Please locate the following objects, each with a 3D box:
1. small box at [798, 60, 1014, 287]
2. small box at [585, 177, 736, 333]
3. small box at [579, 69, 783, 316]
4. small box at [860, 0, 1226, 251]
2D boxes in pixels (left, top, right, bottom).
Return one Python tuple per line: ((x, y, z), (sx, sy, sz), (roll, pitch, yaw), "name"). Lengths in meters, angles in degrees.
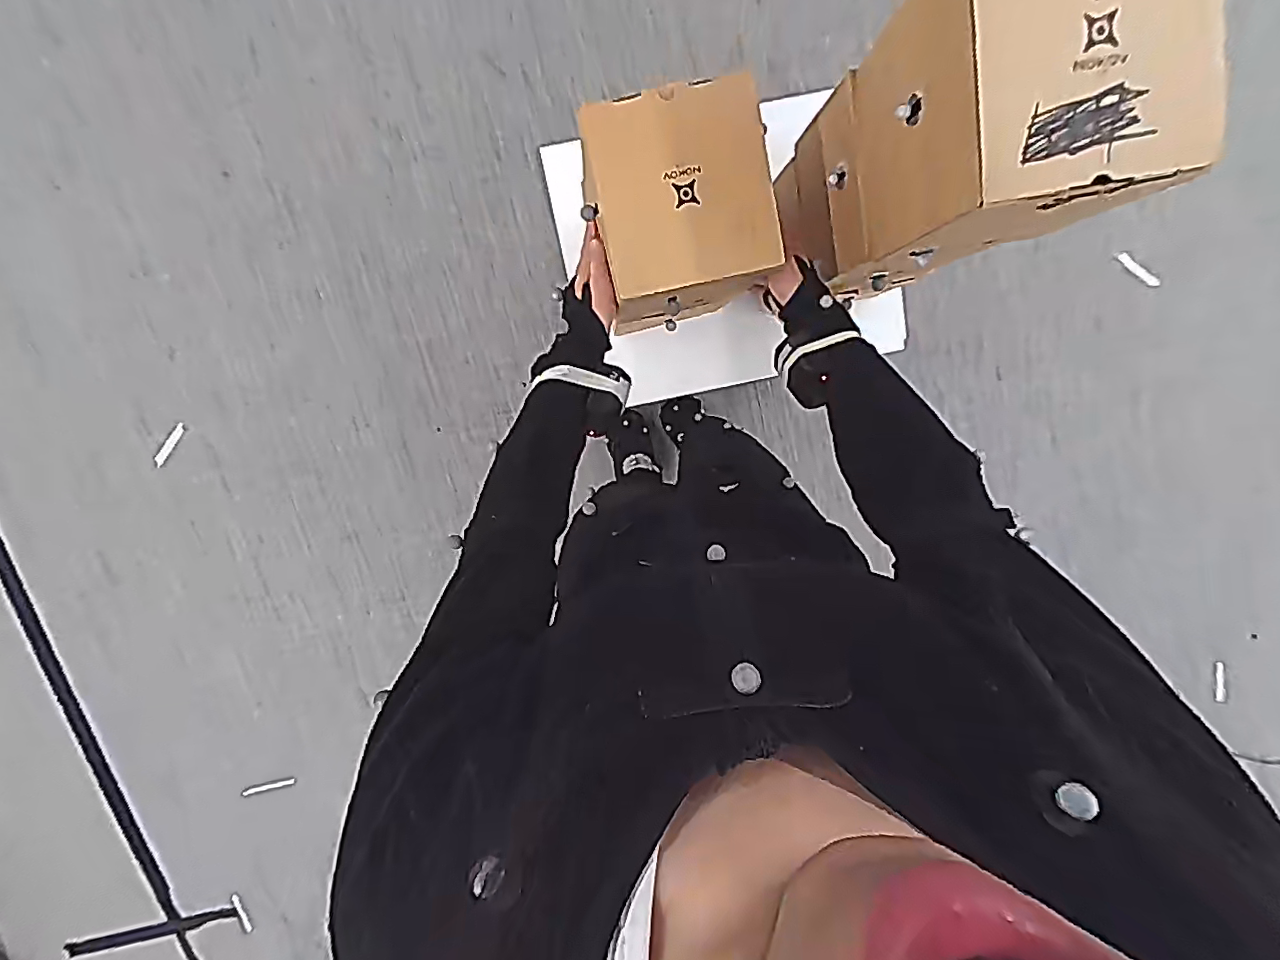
((0.284, -0.326, 0.590), (0.168, 0.176, 0.179), (-11, 101, 0), "small box")
((0.025, -0.313, 0.742), (0.168, 0.176, 0.179), (-15, 101, -1), "small box")
((0.037, -0.284, 0.581), (0.168, 0.176, 0.179), (-13, 98, -2), "small box")
((0.294, -0.295, 0.429), (0.168, 0.176, 0.179), (-9, 99, 0), "small box")
